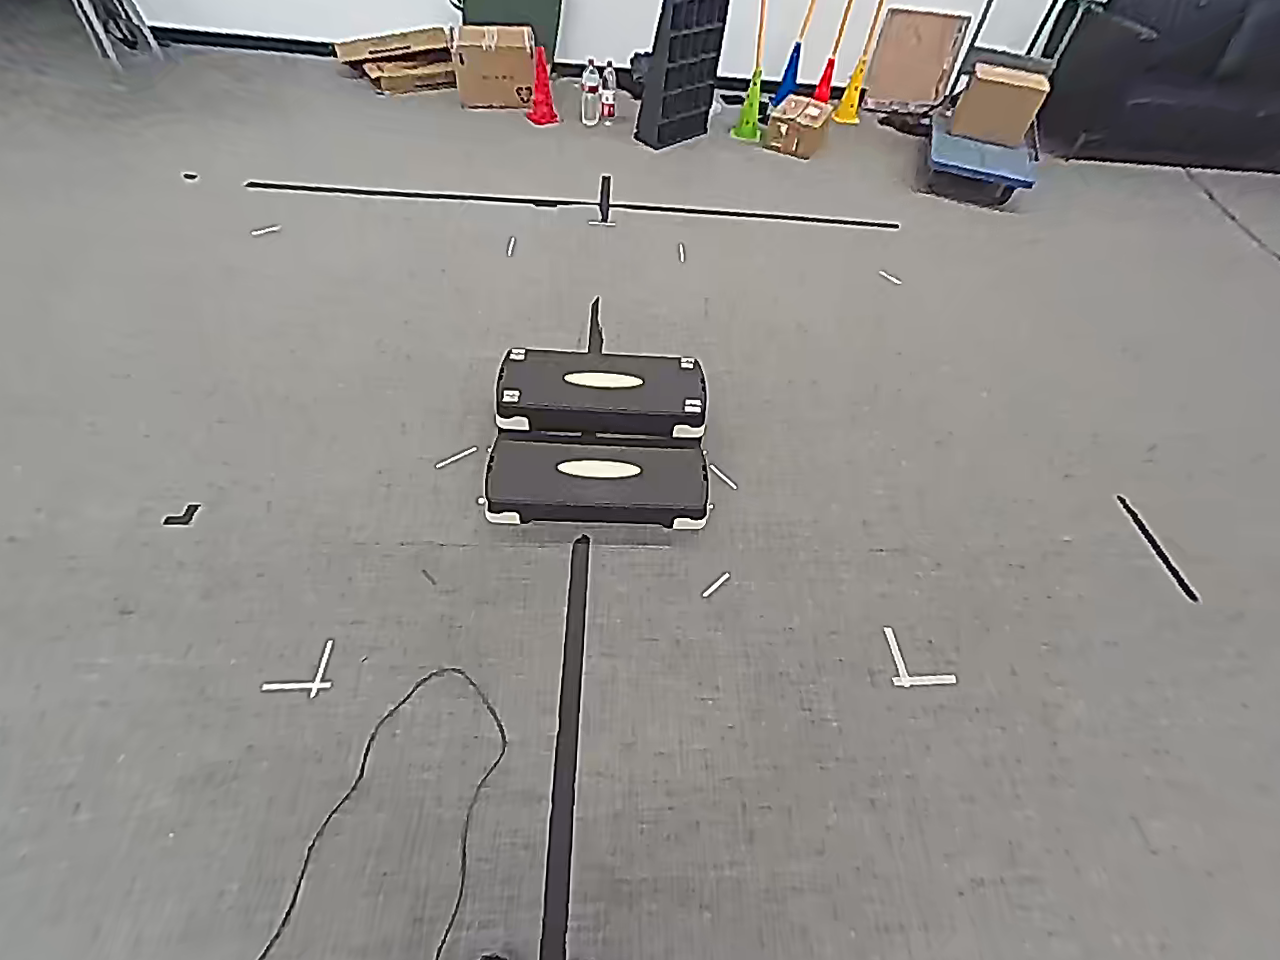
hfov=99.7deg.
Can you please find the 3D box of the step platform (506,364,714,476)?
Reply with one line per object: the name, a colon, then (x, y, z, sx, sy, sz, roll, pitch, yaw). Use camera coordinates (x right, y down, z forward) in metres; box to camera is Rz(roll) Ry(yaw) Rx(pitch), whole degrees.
step platform: (-0.094, -0.205, 1.815, 0.684, 0.204, 0.286, 6, 50, -2)
